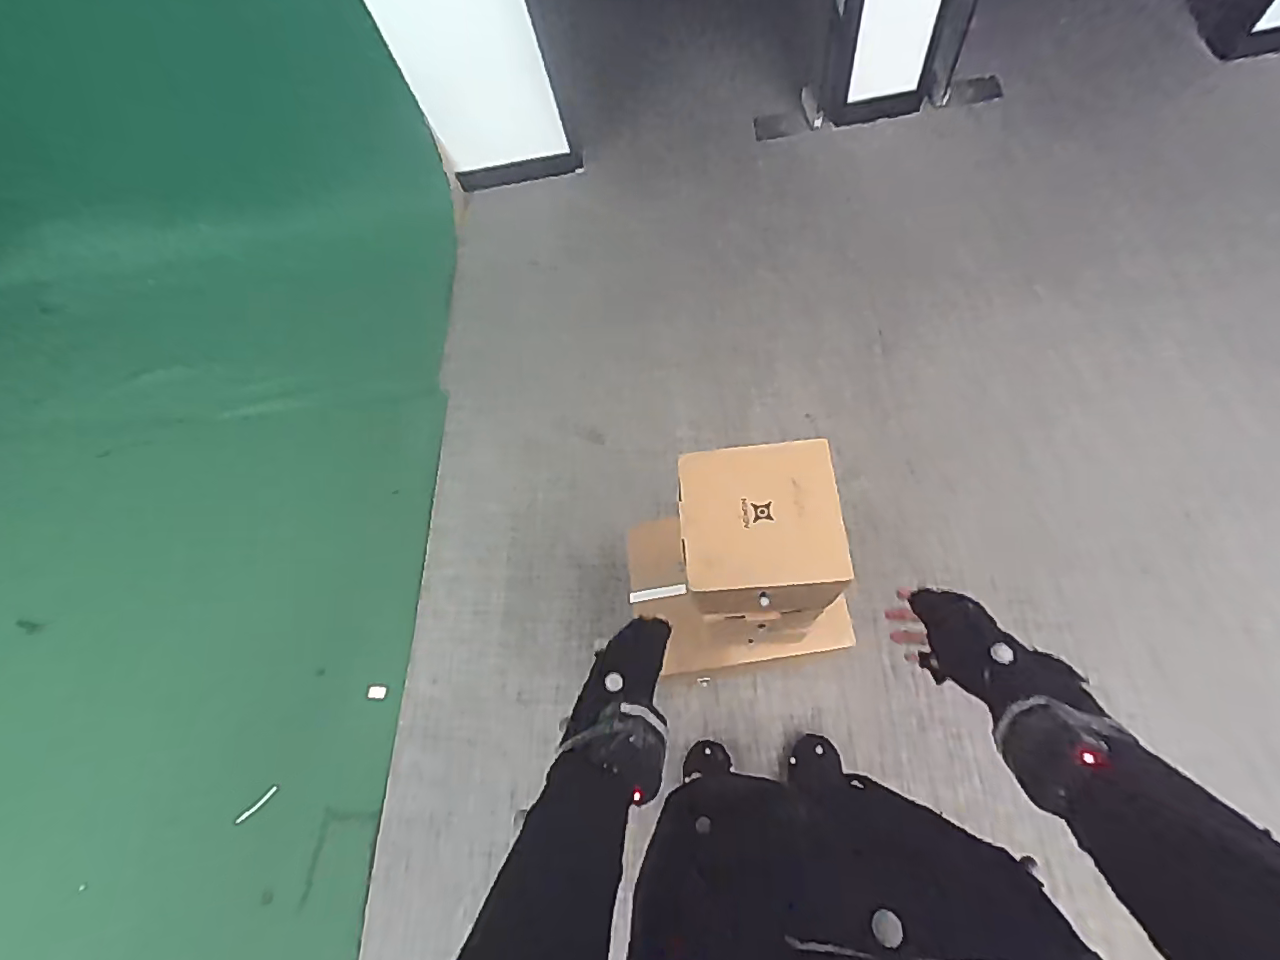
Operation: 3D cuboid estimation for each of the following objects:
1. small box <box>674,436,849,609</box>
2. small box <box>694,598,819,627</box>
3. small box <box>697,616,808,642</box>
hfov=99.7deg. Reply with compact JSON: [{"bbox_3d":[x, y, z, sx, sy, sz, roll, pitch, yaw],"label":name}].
[{"bbox_3d":[0.141,0.062,0.671,0.179,0.176,0.168,-6,68,7],"label":"small box"},{"bbox_3d":[0.165,0.125,0.819,0.168,0.176,0.179,-7,67,7],"label":"small box"},{"bbox_3d":[0.190,0.195,0.965,0.179,0.176,0.168,-6,67,9],"label":"small box"}]
